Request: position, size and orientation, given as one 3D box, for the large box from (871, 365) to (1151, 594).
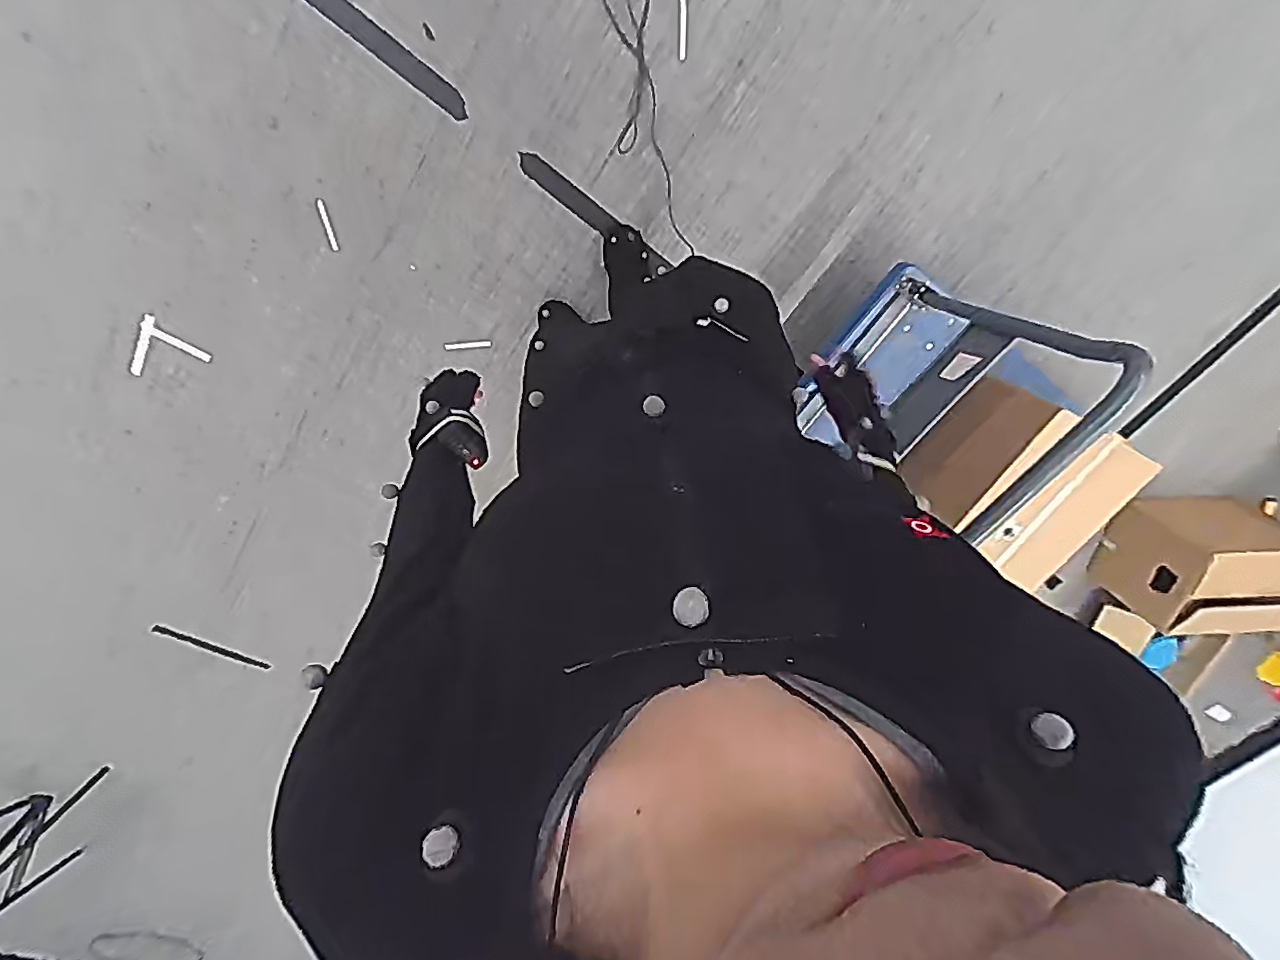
[{"bbox_3d":[0.862,-0.007,1.319,0.320,0.320,0.408,23,115,-15],"label":"large box"}]
